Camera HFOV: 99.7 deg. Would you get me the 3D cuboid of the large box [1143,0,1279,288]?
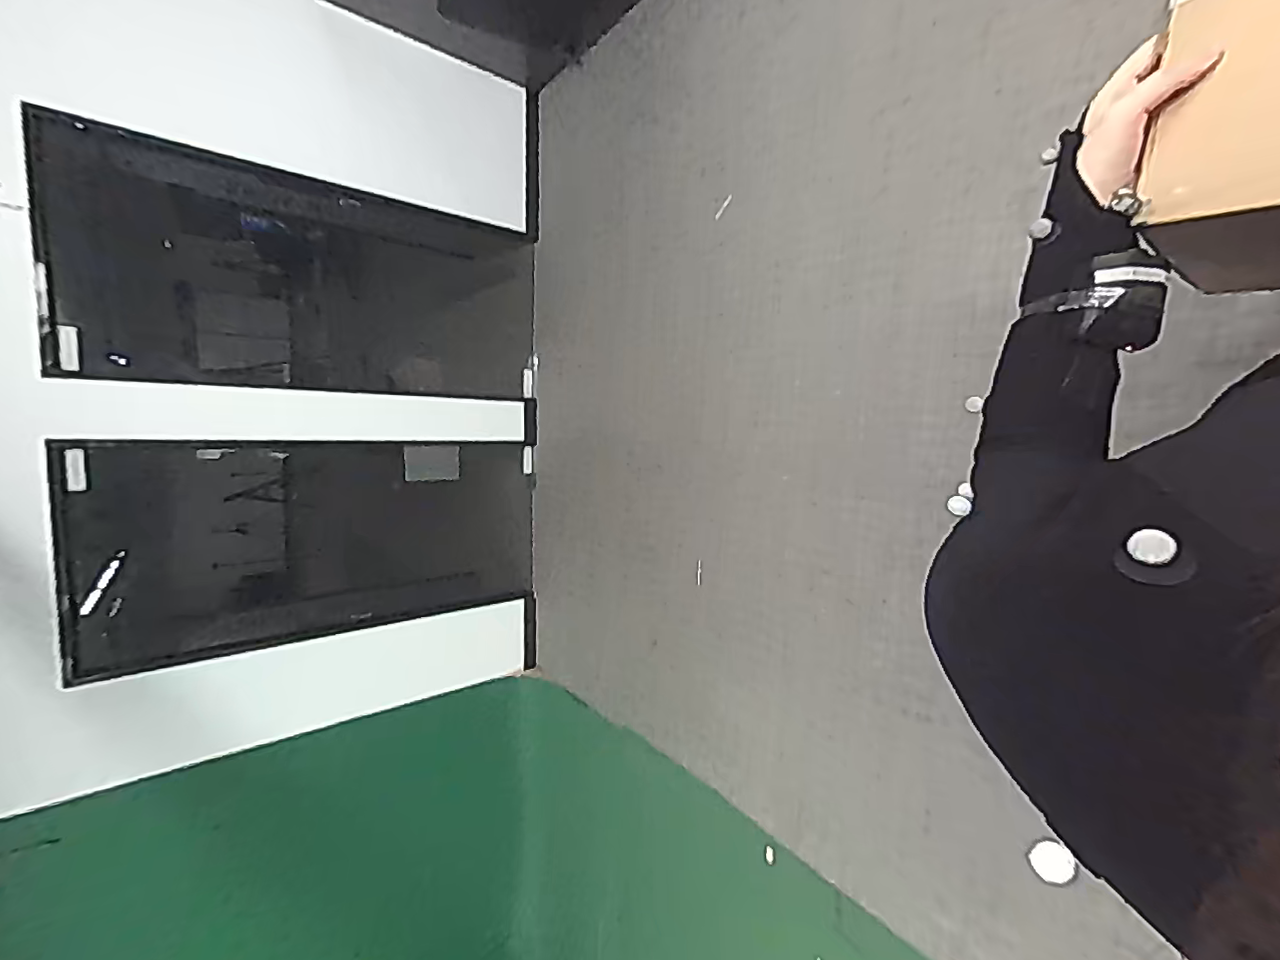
[{"bbox_3d":[0.634,-0.323,0.325,0.408,0.320,0.320,15,103,53],"label":"large box"}]
